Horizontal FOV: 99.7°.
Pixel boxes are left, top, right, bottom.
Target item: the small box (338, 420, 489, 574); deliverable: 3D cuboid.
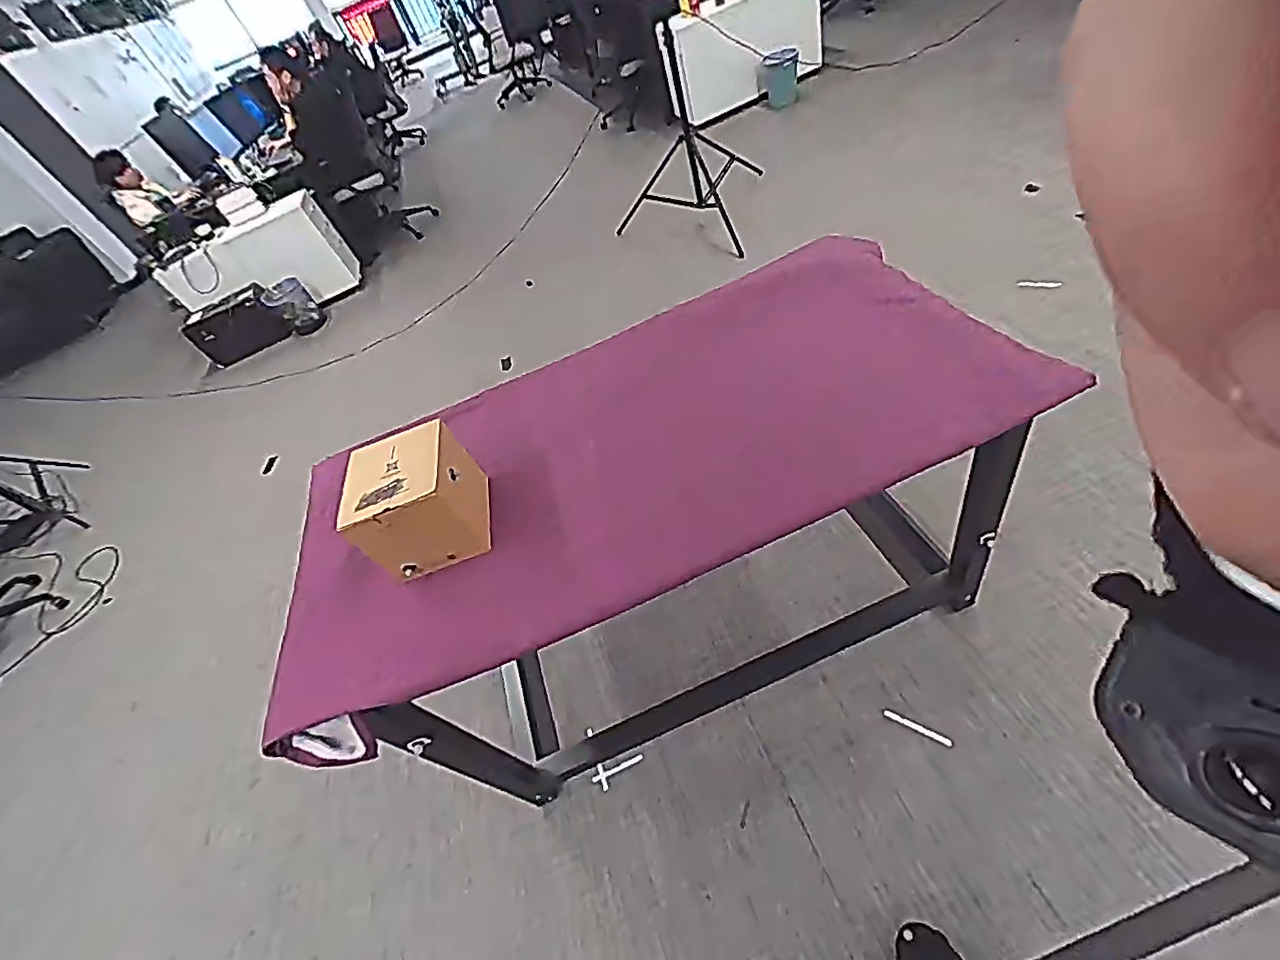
[{"bbox_3d":[-0.367,0.037,0.910,0.168,0.176,0.179,-20,47,3],"label":"small box"}]
